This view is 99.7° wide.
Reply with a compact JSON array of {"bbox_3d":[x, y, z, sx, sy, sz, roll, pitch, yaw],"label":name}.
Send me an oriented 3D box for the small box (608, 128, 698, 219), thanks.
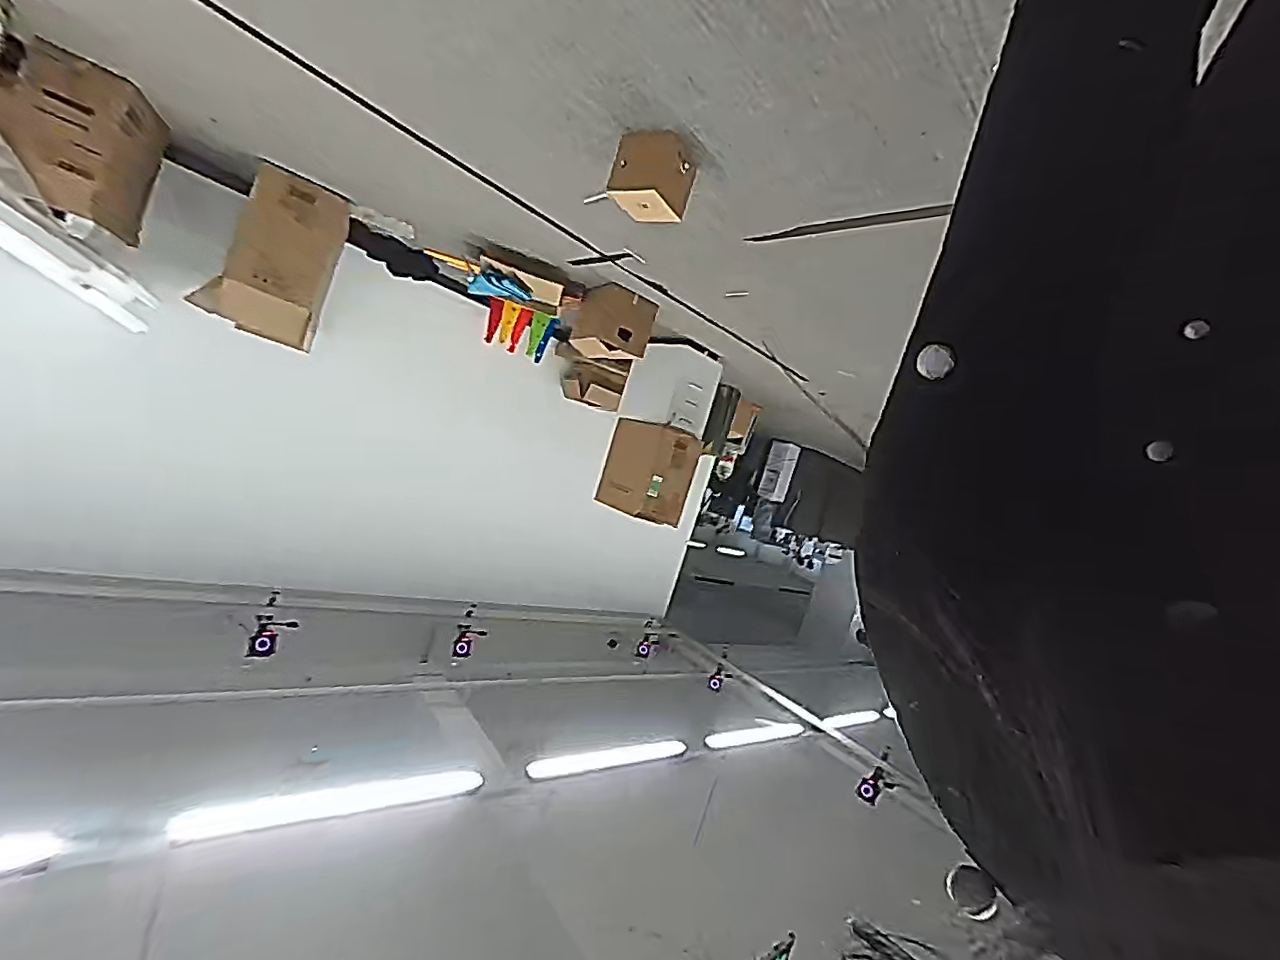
[{"bbox_3d":[0.041,-0.879,1.559,0.179,0.176,0.168,18,-177,34],"label":"small box"}]
